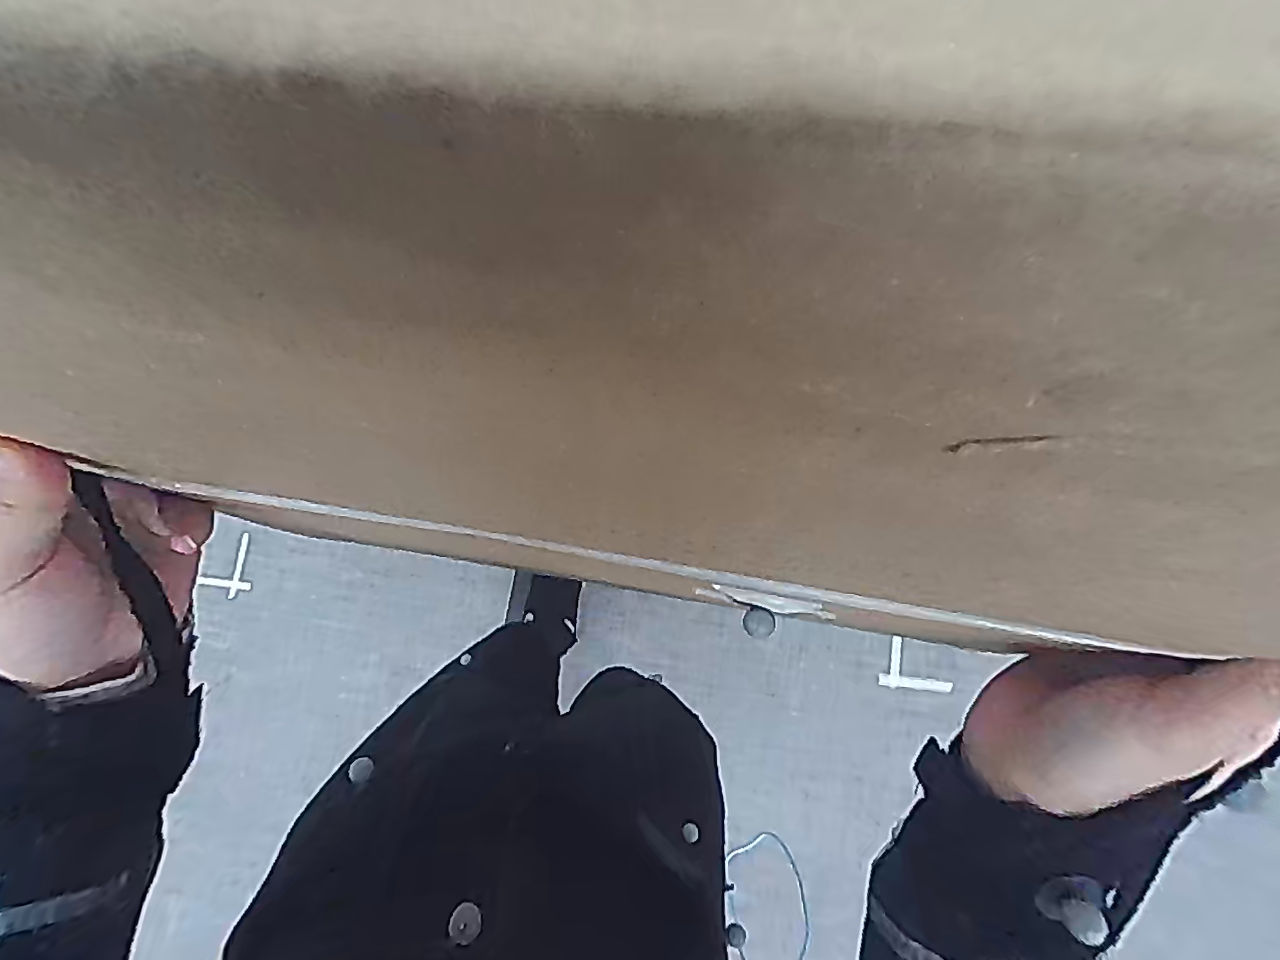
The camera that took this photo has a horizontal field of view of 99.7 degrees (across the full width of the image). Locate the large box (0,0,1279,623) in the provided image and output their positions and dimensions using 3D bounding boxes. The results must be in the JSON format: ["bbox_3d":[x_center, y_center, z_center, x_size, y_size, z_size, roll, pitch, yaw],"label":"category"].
[{"bbox_3d":[0.005,-0.137,0.224,0.408,0.320,0.320,8,74,6],"label":"large box"}]
